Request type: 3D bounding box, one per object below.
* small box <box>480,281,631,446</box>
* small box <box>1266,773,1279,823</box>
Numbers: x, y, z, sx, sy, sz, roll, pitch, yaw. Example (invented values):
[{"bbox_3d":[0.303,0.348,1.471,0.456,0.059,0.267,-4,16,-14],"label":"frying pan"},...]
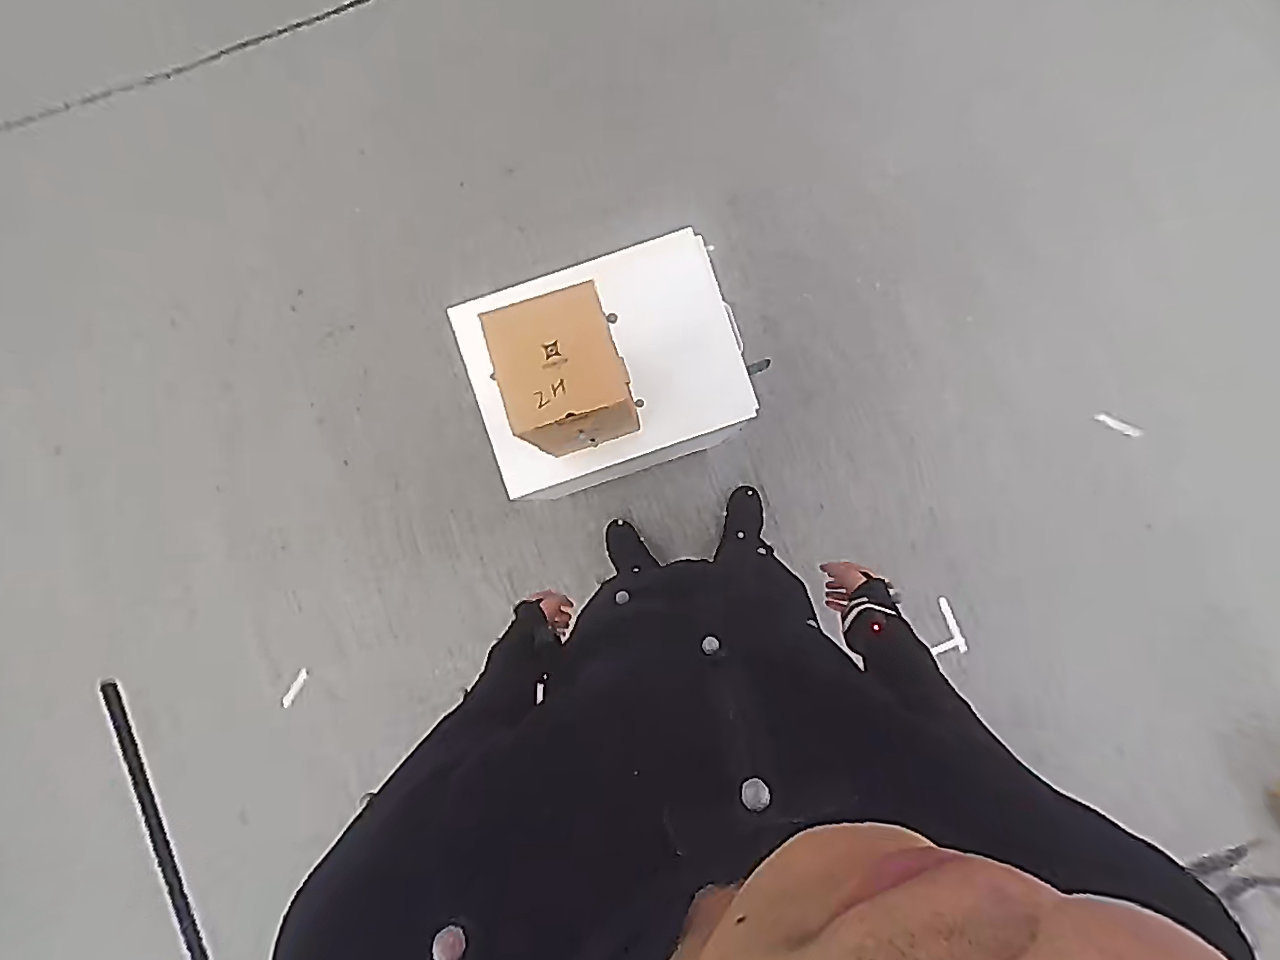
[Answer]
[{"bbox_3d":[-0.115,-0.161,0.803,0.168,0.176,0.179,-17,88,1],"label":"small box"},{"bbox_3d":[1.974,0.937,1.536,0.179,0.176,0.168,-20,88,-1],"label":"small box"}]
